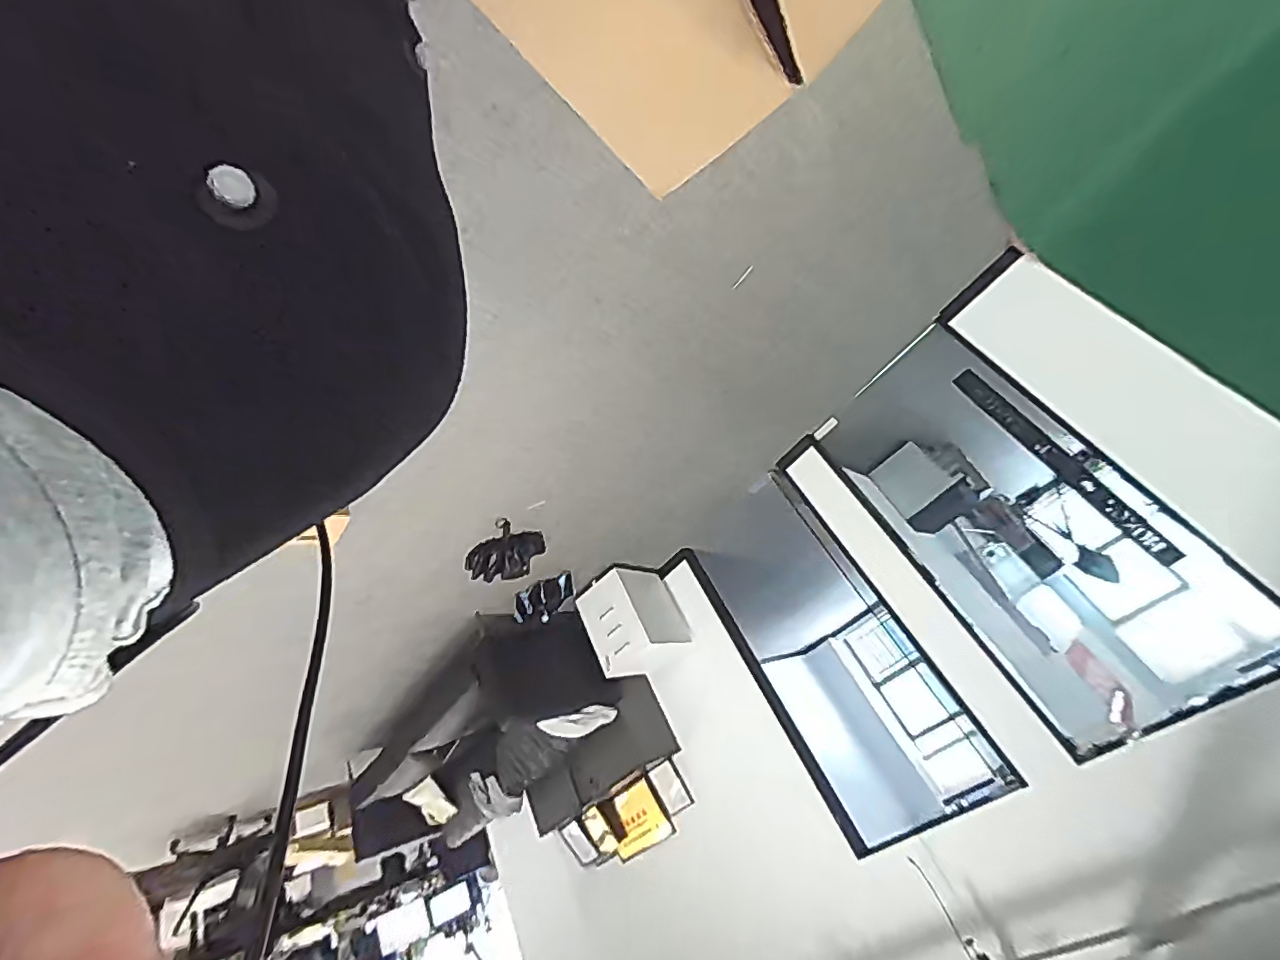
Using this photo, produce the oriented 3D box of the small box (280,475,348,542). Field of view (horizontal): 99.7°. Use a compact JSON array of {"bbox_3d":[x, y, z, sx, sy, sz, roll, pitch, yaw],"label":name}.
[{"bbox_3d":[-1.193,0.107,1.971,0.168,0.176,0.179,10,132,-49],"label":"small box"}]
